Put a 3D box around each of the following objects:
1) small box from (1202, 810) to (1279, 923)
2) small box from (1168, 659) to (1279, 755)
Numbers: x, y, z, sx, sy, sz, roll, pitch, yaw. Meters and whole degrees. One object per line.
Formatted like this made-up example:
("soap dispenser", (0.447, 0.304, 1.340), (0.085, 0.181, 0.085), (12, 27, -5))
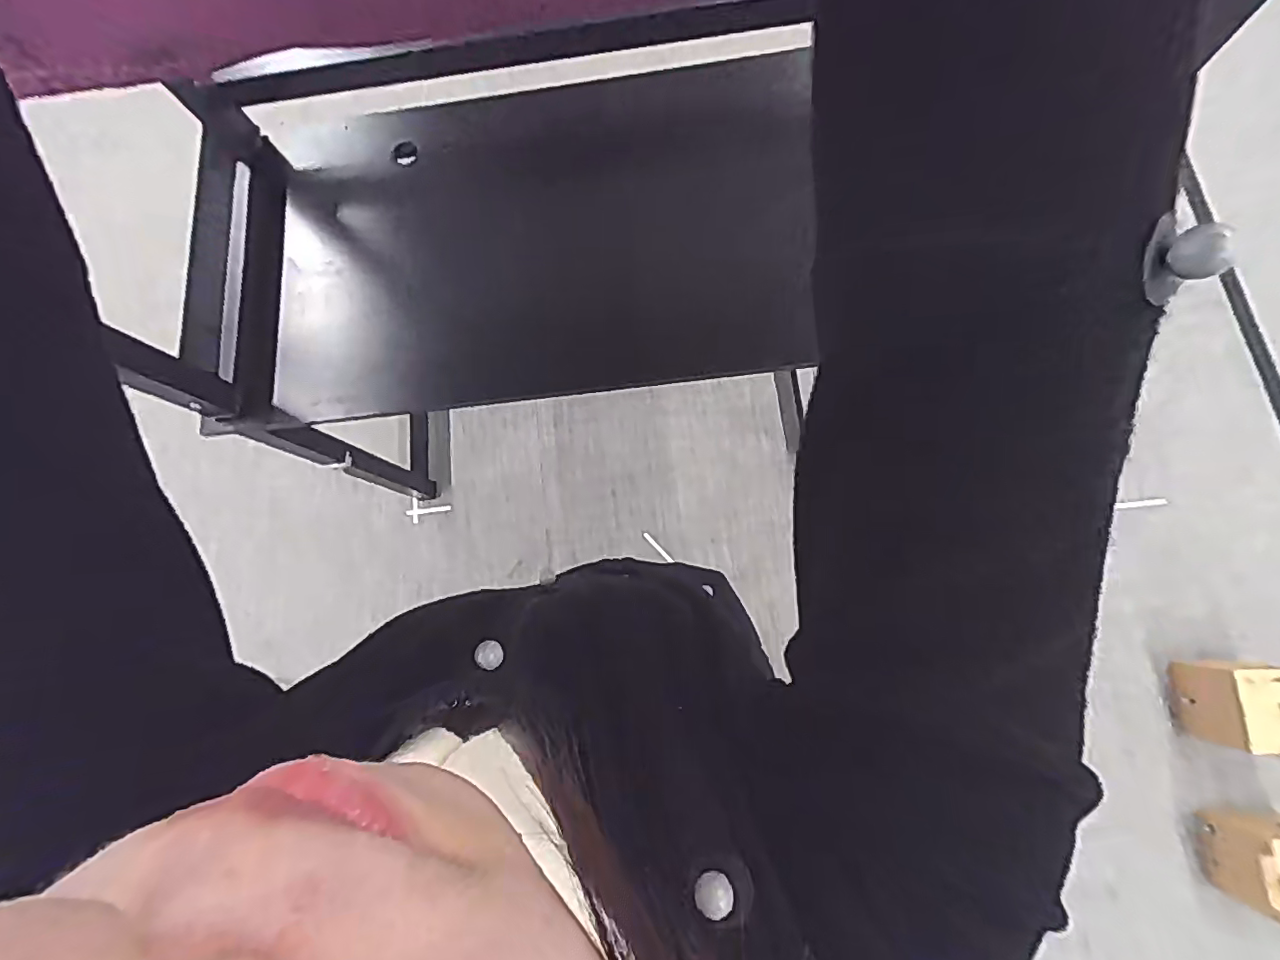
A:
("small box", (1.394, 0.843, 1.181), (0.179, 0.176, 0.168), (0, 78, 4))
("small box", (1.390, 0.519, 1.249), (0.168, 0.176, 0.179), (-1, 79, 4))
